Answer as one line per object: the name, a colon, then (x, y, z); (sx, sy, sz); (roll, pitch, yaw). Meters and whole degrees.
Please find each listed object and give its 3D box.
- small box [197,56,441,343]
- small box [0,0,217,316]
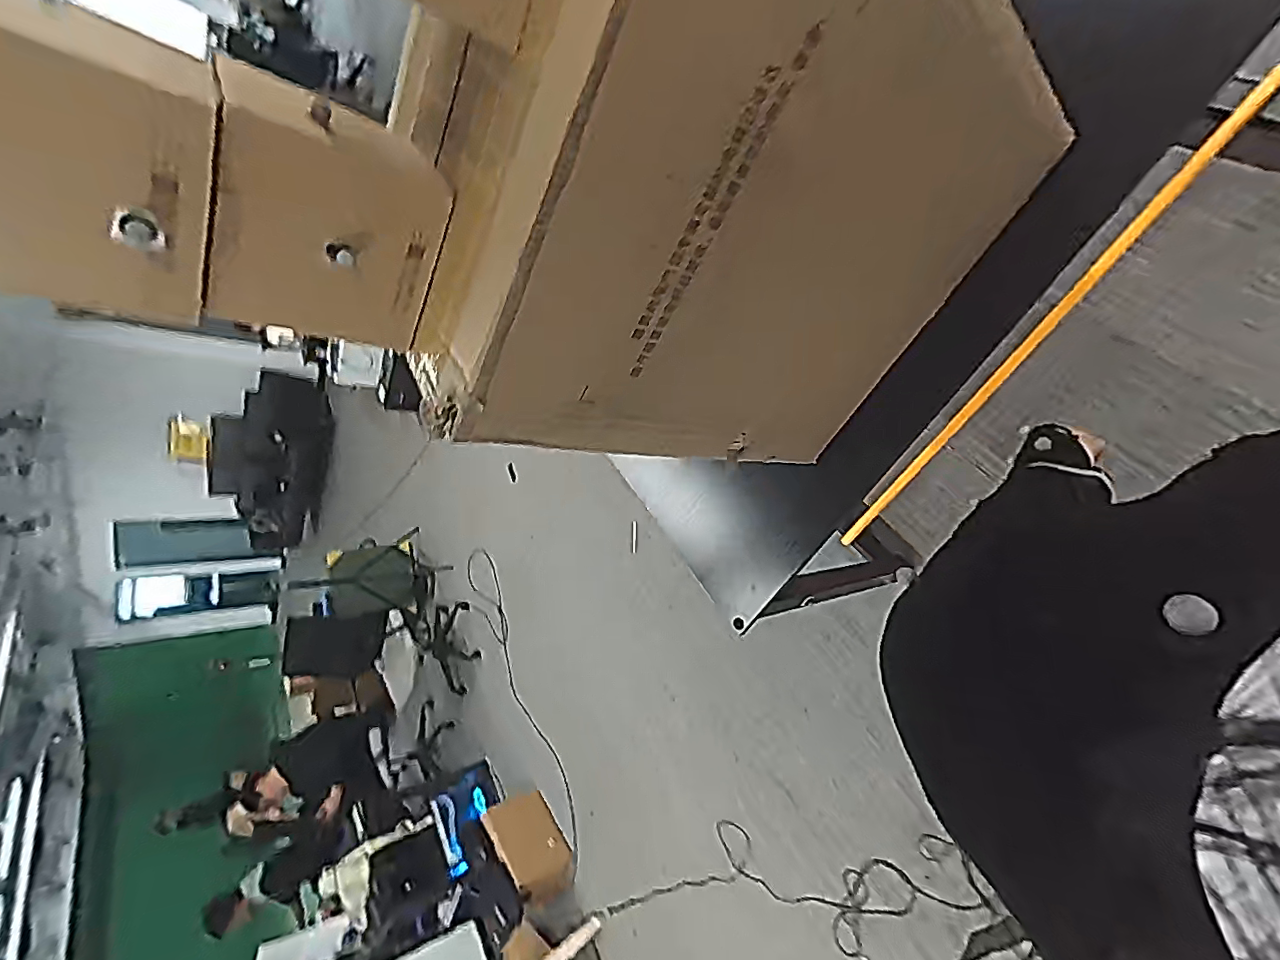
small box: (-0.305, -0.245, 0.506); (0.179, 0.176, 0.168); (52, 125, 35)
small box: (-0.421, -0.239, 0.390); (0.179, 0.176, 0.168); (51, 125, 36)
